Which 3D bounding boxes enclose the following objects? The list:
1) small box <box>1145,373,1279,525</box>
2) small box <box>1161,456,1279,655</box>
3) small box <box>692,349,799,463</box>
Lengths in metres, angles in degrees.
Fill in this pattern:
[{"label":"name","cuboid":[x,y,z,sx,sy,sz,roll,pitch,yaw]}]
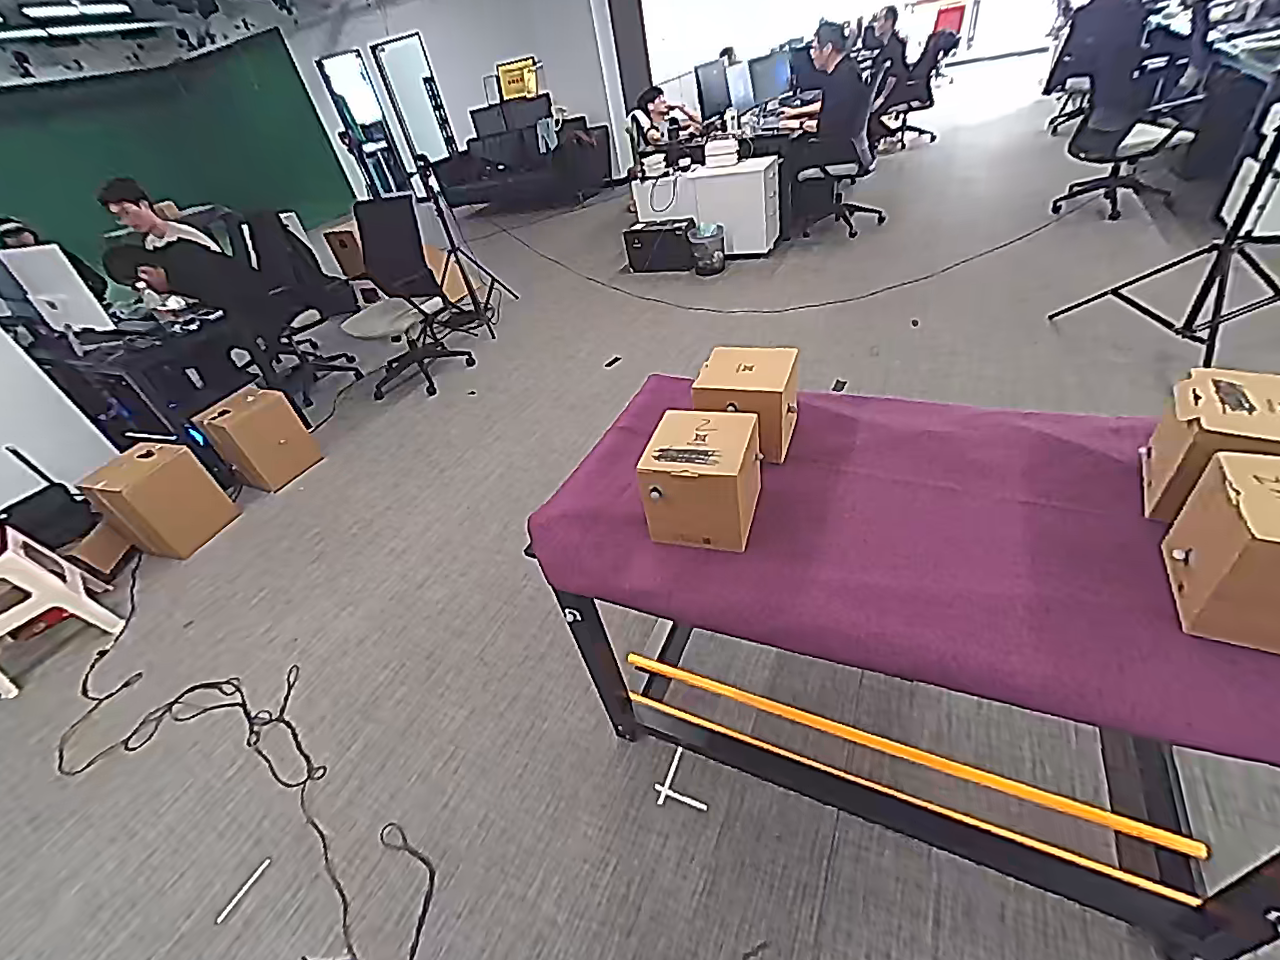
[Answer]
[{"label":"small box","cuboid":[0.857,-0.029,0.767,0.179,0.176,0.168,15,48,29]},{"label":"small box","cuboid":[0.771,0.096,0.636,0.179,0.176,0.168,10,42,28]},{"label":"small box","cuboid":[0.219,-0.150,1.099,0.179,0.176,0.168,7,42,23]}]
